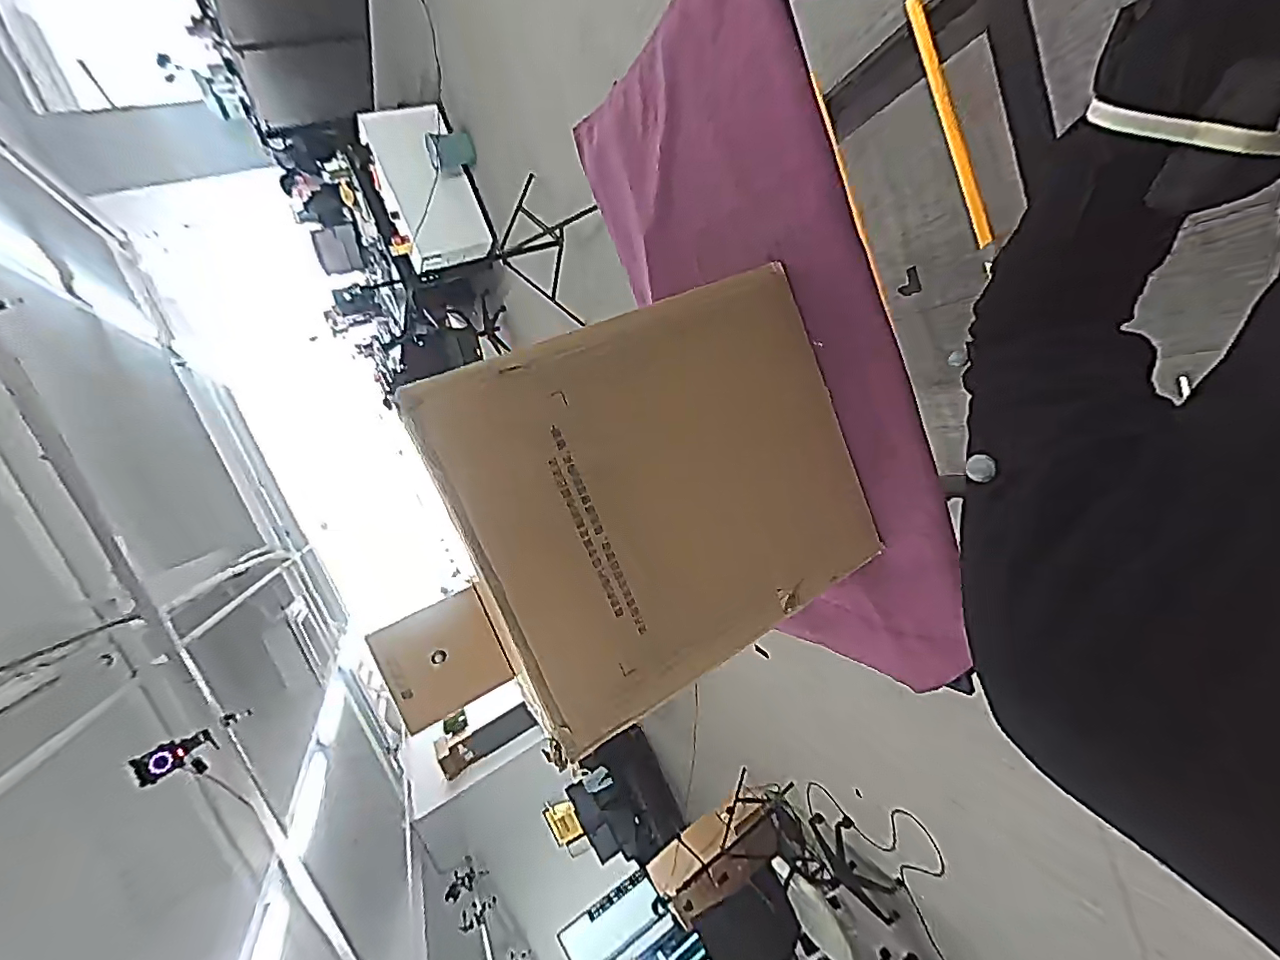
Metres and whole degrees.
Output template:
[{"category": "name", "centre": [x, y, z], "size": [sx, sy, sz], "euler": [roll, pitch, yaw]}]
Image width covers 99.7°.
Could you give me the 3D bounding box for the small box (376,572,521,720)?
[{"category": "small box", "centre": [-0.319, 0.266, 0.897], "size": [0.168, 0.176, 0.179], "euler": [67, 157, -3]}]
